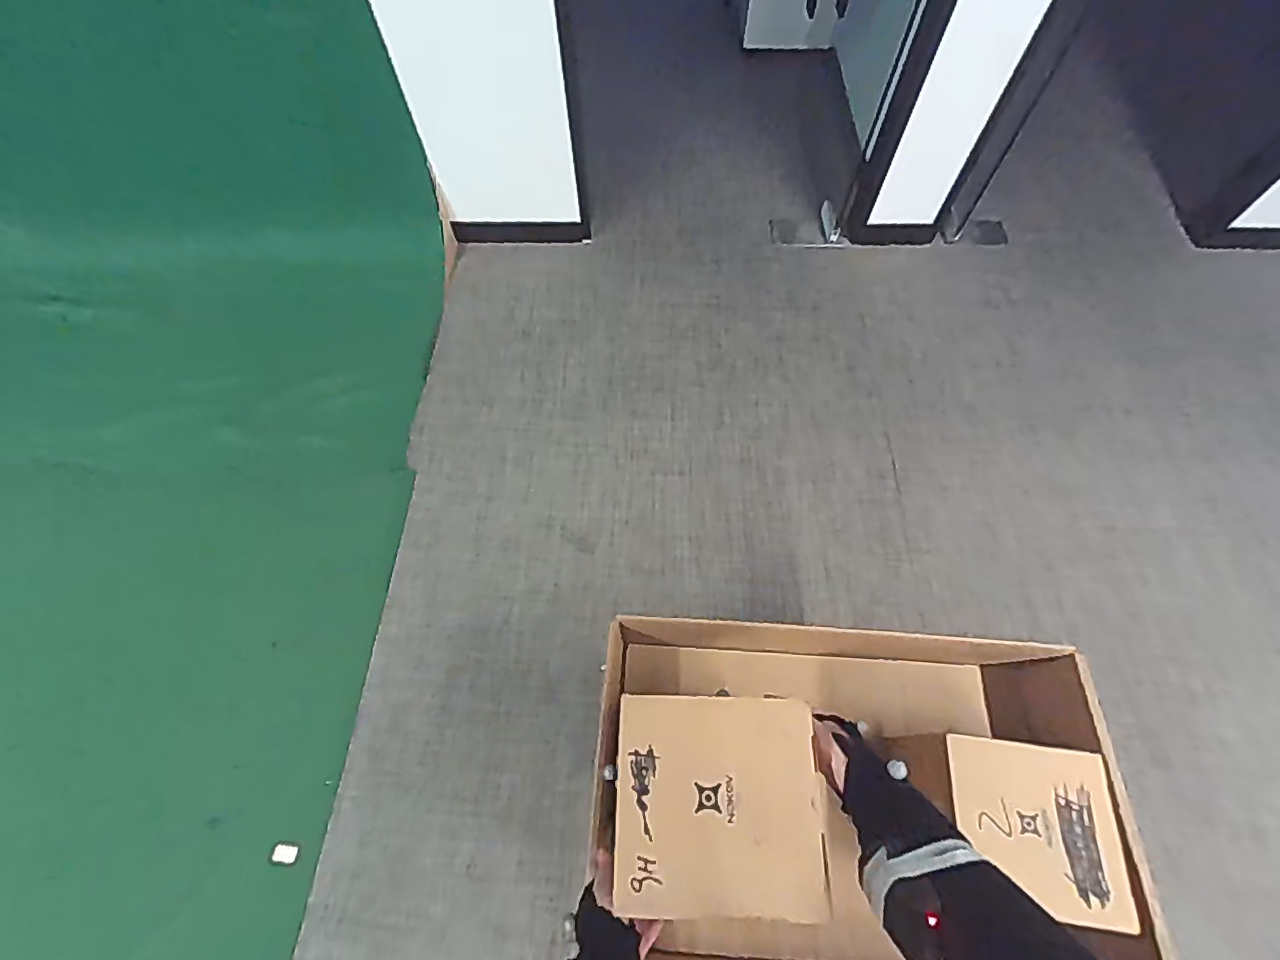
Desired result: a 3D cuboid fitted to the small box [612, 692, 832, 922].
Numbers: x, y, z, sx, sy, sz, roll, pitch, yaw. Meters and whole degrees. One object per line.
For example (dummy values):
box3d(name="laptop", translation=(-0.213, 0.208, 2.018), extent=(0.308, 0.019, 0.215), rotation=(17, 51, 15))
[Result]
box3d(name="small box", translation=(0.068, 0.306, 0.531), extent=(0.179, 0.176, 0.168), rotation=(1, 62, 2))
